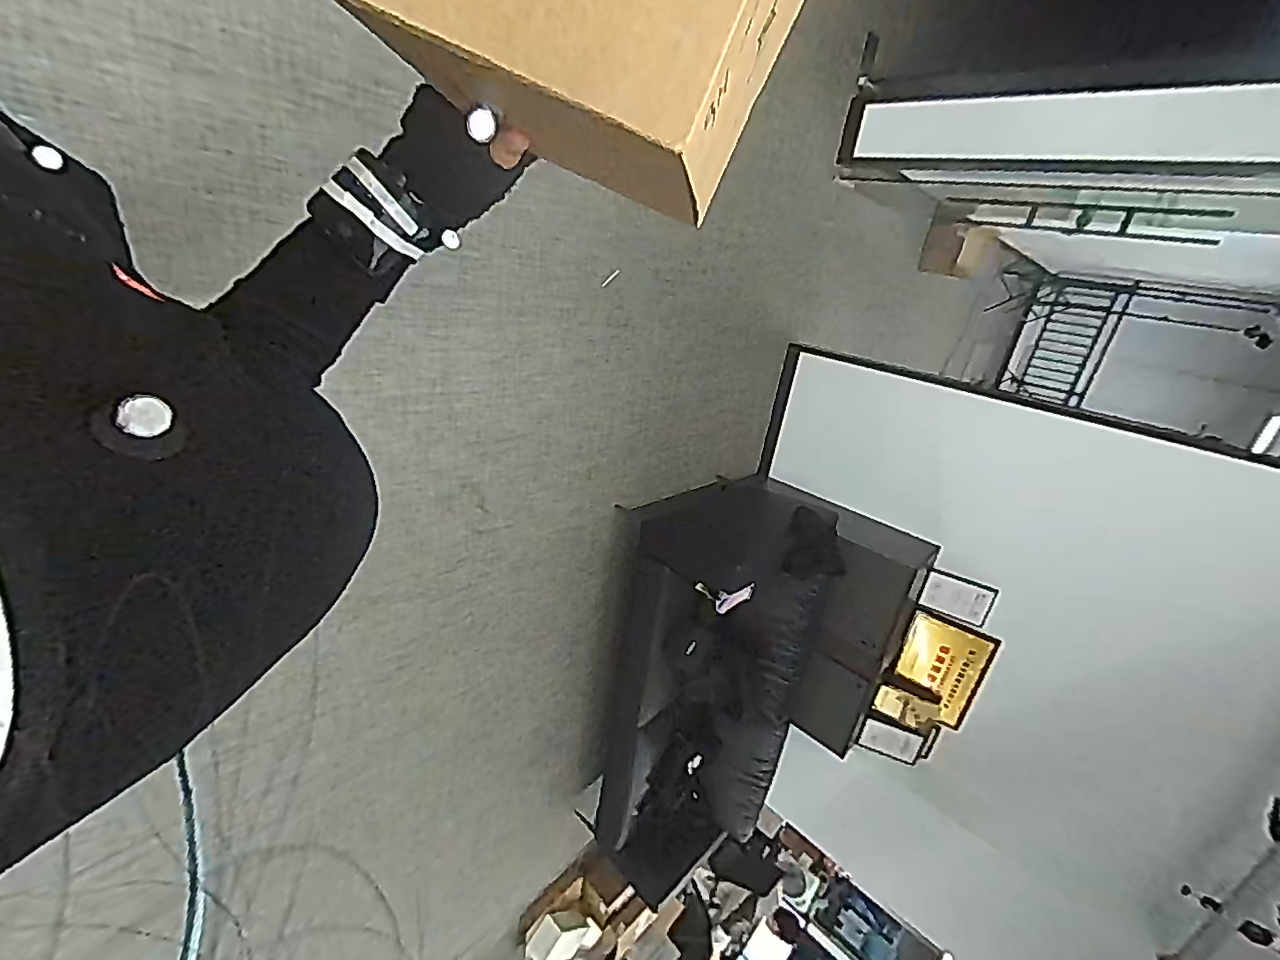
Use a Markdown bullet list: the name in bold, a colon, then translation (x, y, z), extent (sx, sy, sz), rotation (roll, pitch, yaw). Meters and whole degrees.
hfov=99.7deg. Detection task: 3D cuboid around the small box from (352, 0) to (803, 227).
- **small box**: translation (-0.011, -0.257, 0.273), extent (0.179, 0.176, 0.168), rotation (-65, -179, -73)
